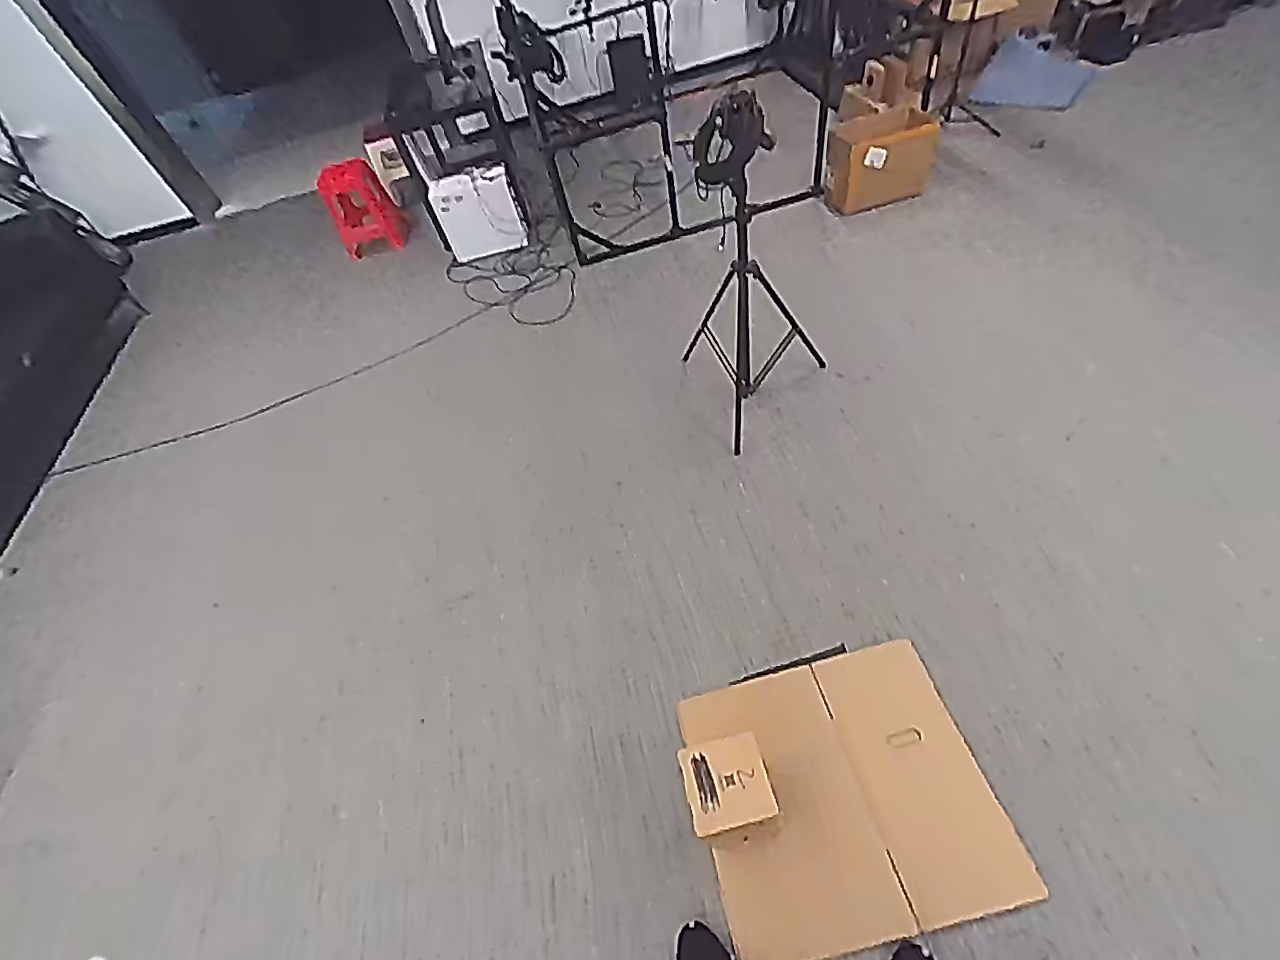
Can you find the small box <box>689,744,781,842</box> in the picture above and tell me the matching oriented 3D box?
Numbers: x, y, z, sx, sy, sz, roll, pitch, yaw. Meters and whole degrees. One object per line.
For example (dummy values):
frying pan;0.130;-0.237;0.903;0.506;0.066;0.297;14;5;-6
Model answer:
small box;0.230;0.768;1.322;0.179;0.176;0.168;-17;51;1
